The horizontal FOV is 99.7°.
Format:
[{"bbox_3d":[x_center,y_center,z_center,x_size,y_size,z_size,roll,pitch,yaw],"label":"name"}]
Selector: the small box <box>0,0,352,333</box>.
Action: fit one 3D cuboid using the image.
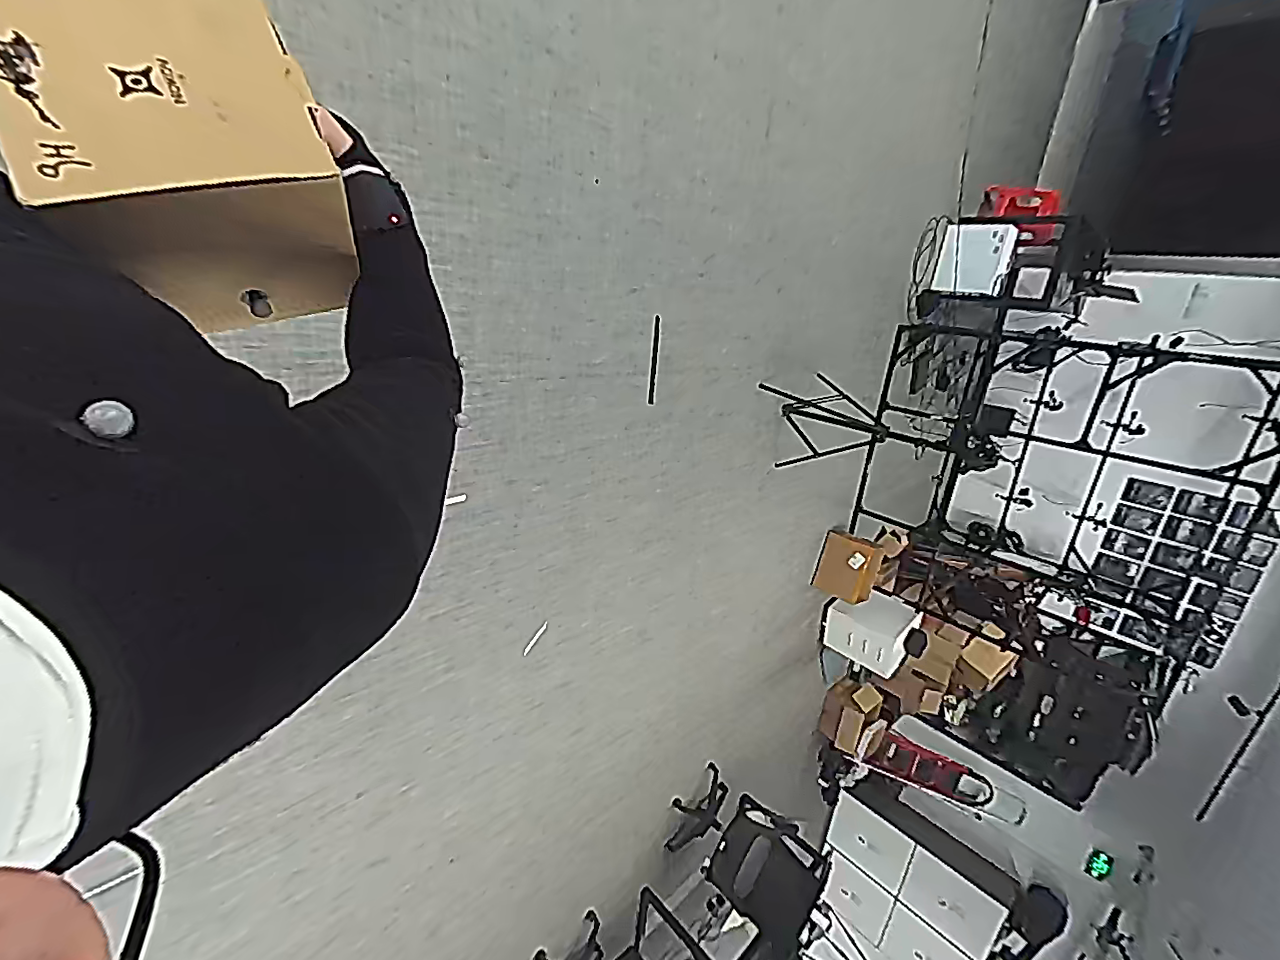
[{"bbox_3d":[-0.355,-0.246,0.444,0.179,0.176,0.168,-22,83,-26],"label":"small box"}]
